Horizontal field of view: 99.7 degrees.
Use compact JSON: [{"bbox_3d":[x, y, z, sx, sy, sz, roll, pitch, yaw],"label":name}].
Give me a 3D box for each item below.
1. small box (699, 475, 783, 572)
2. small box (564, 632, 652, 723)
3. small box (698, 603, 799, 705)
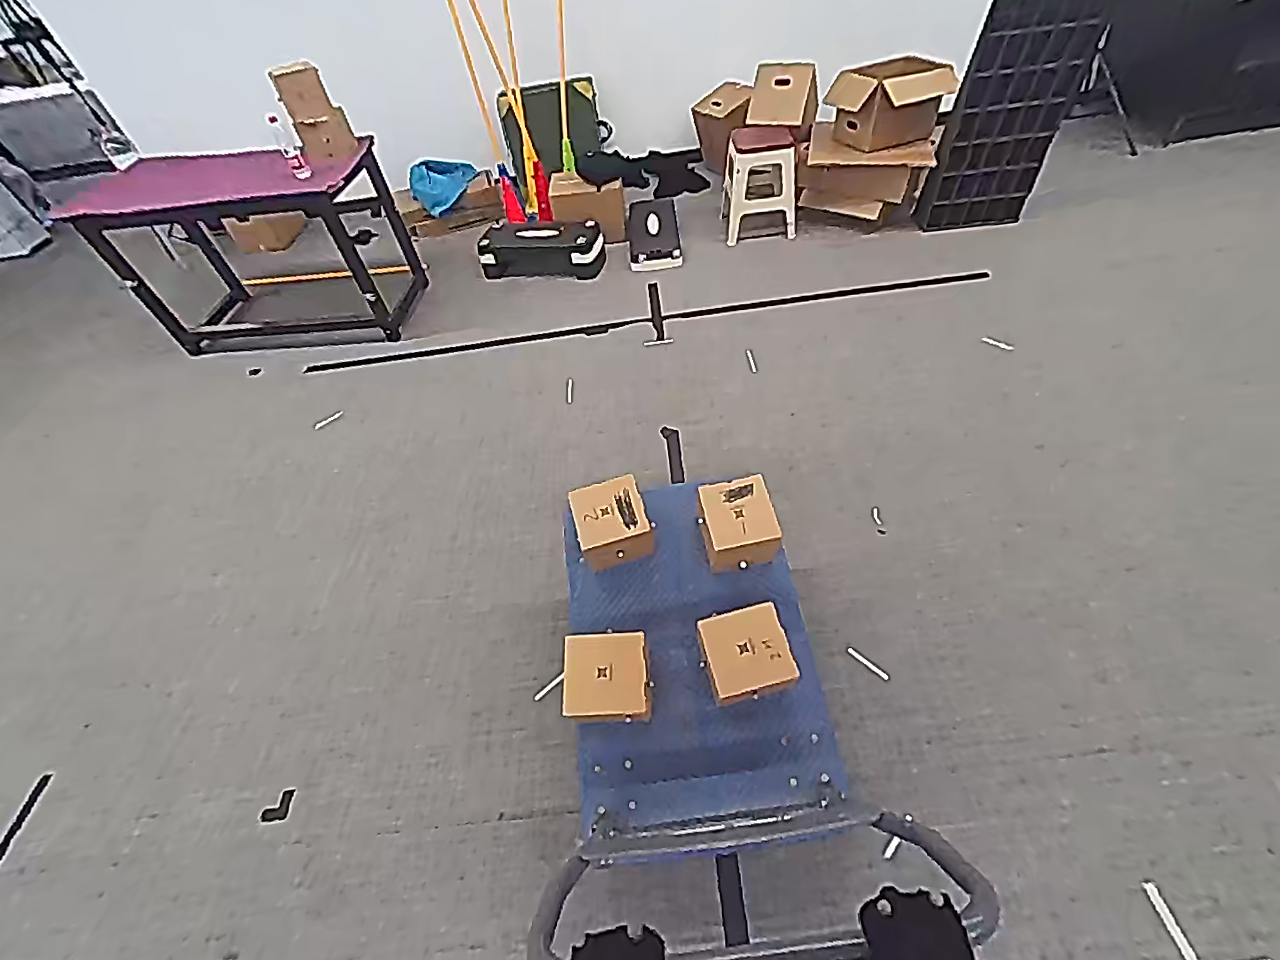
[{"bbox_3d":[0.246,0.114,1.369,0.168,0.176,0.179,-12,62,-1],"label":"small box"},{"bbox_3d":[-0.068,0.449,1.219,0.179,0.176,0.168,-4,61,2],"label":"small box"},{"bbox_3d":[0.236,0.396,1.216,0.179,0.176,0.168,-14,61,-2],"label":"small box"}]
